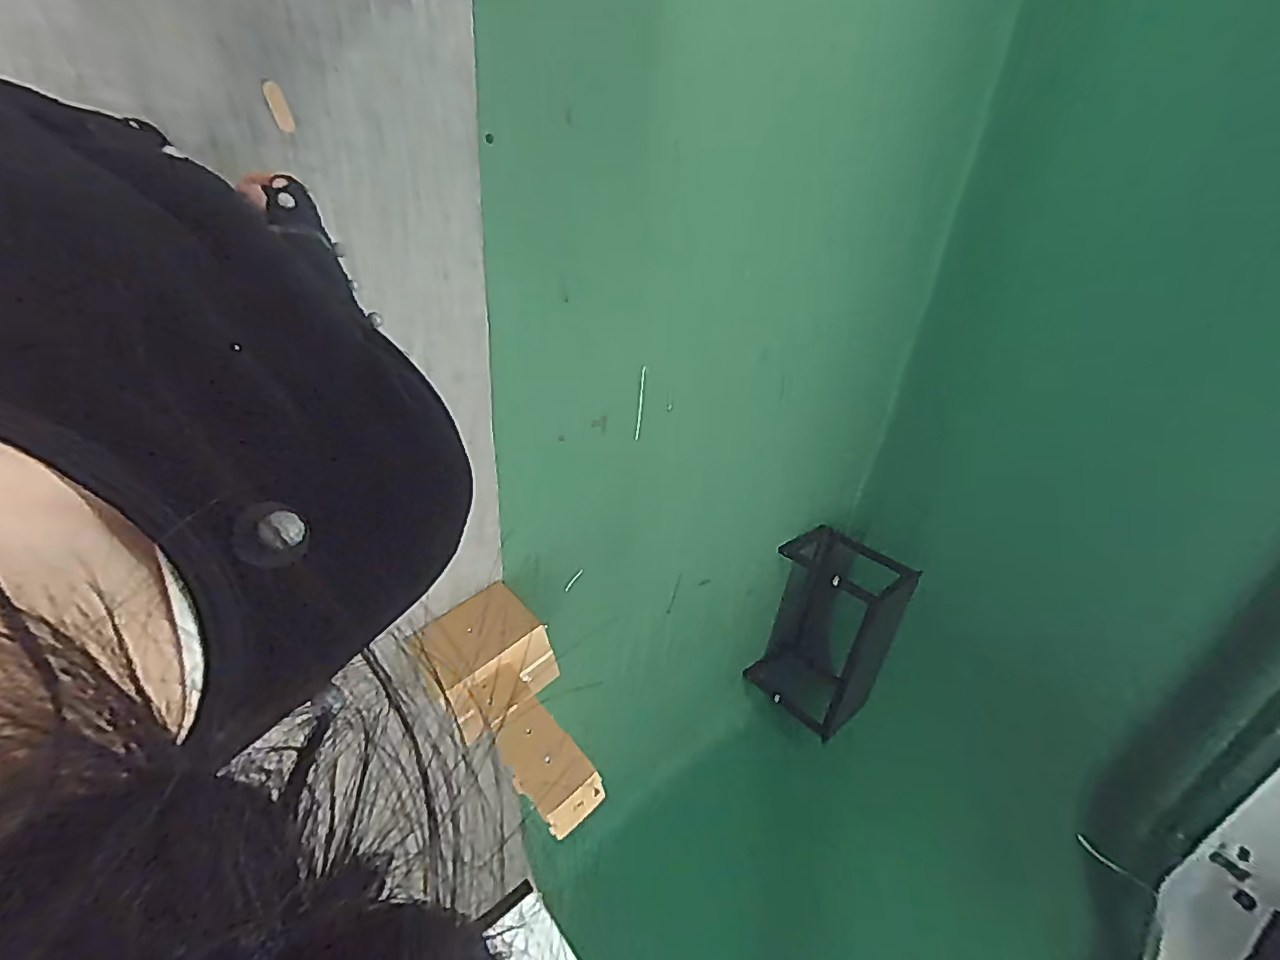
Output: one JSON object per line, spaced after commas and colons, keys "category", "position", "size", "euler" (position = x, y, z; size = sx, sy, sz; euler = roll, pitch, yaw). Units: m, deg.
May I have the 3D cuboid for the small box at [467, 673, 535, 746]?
{"category": "small box", "position": [-0.442, 0.766, 1.773], "size": [0.168, 0.176, 0.179], "euler": [-31, 133, -29]}

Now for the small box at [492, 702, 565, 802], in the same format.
{"category": "small box", "position": [-0.336, 0.834, 1.669], "size": [0.179, 0.176, 0.168], "euler": [-33, 133, -29]}

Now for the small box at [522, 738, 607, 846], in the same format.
{"category": "small box", "position": [-0.224, 0.898, 1.566], "size": [0.179, 0.176, 0.168], "euler": [-31, 133, -28]}

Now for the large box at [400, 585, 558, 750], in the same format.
{"category": "large box", "position": [-0.572, 0.662, 1.957], "size": [0.408, 0.320, 0.320], "euler": [-33, 135, -30]}
